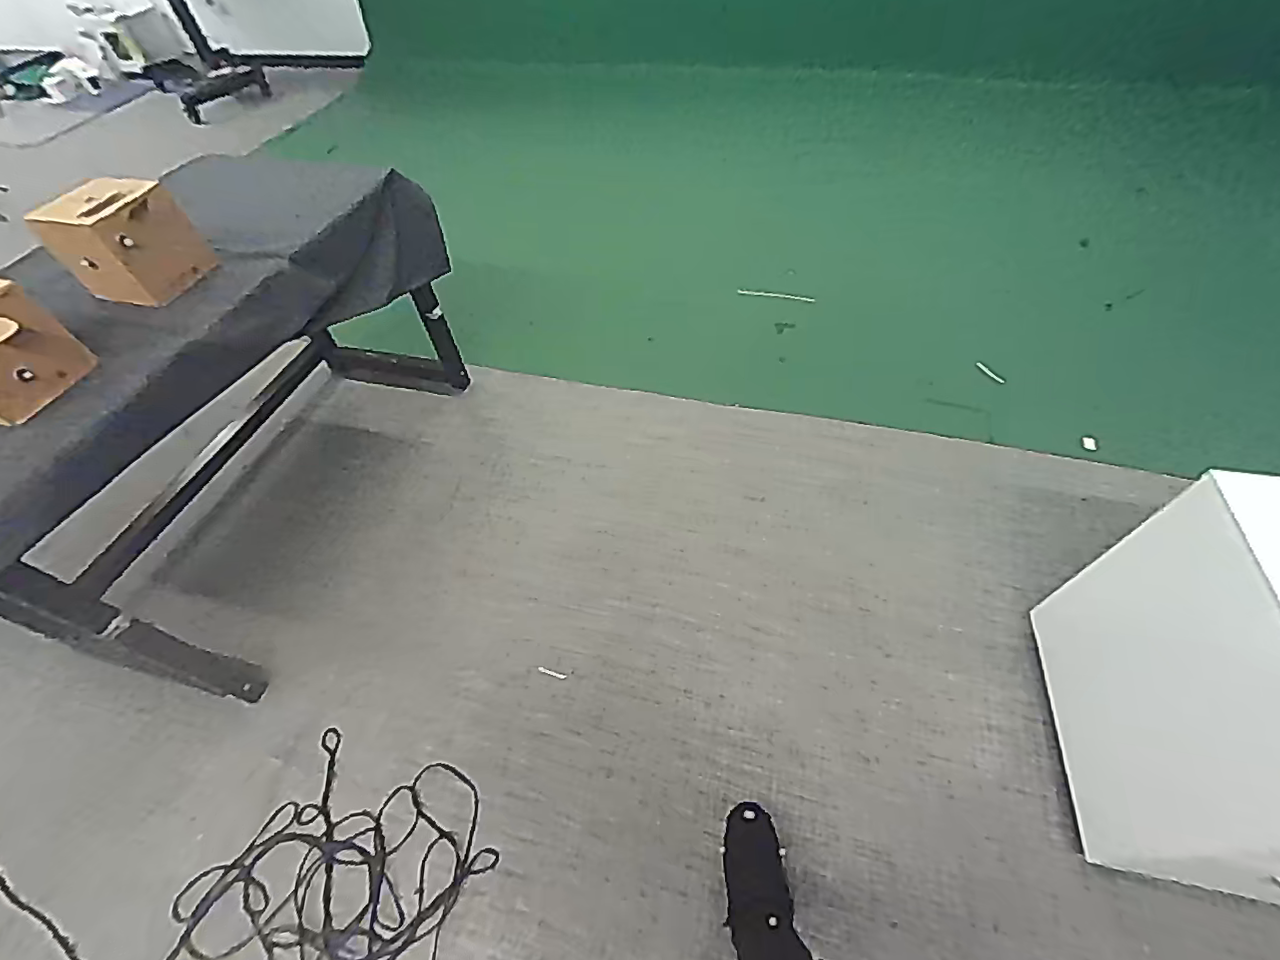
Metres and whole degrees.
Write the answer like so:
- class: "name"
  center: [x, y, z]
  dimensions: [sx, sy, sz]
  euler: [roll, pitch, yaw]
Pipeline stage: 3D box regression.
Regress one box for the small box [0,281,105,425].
- class: "small box"
  center: [-1.068, -0.209, 0.886]
  dimensions: [0.179, 0.176, 0.168]
  euler: [11, 53, 12]
